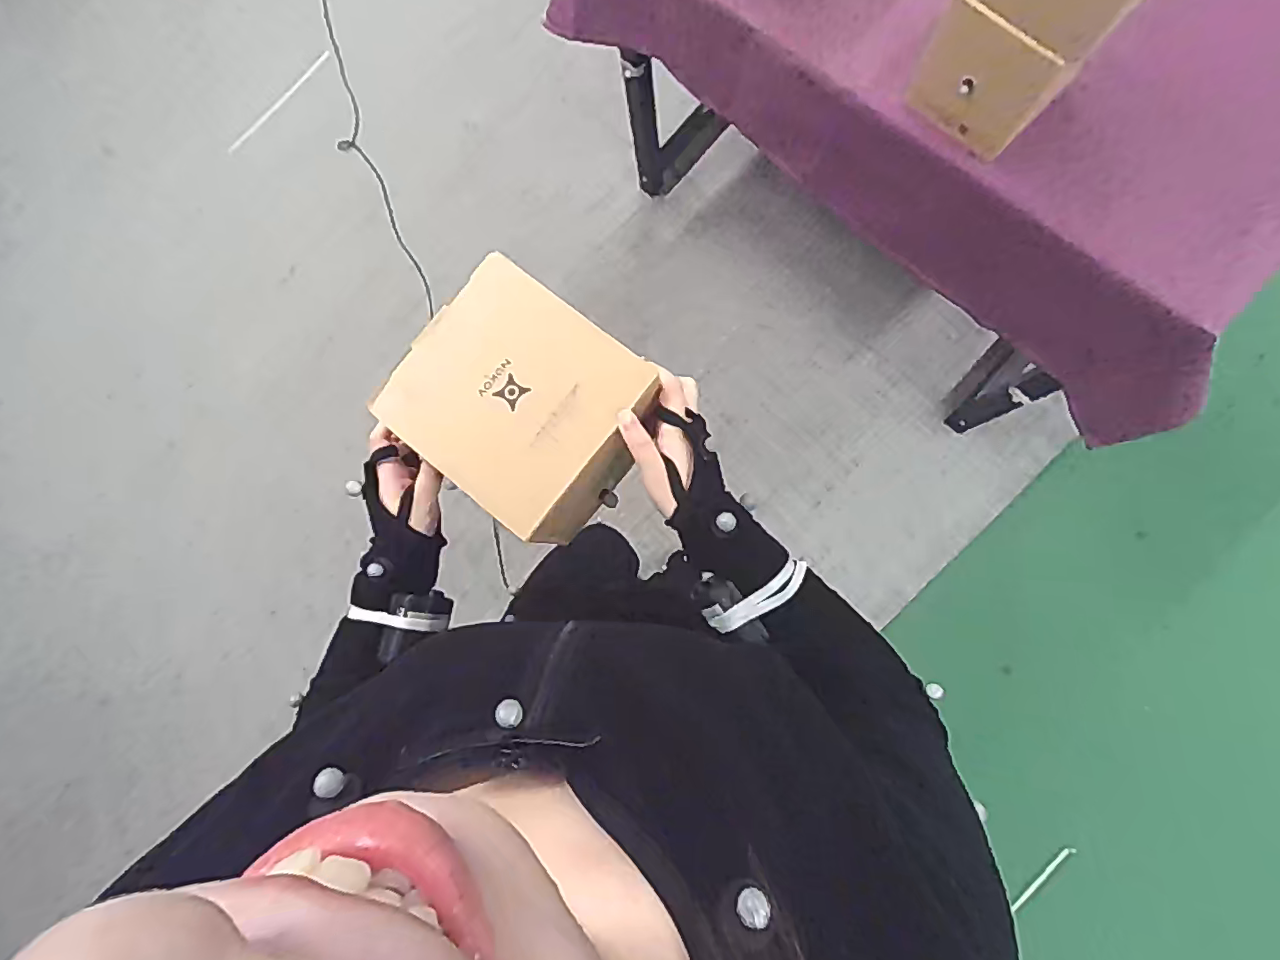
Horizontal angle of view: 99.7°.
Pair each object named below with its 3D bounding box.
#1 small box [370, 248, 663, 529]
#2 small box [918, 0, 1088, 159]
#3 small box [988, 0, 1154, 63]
[{"bbox_3d":[-0.095,-0.065,0.502,0.179,0.176,0.168,38,87,7],"label":"small box"},{"bbox_3d":[0.518,-0.595,0.743,0.179,0.176,0.168,-45,82,-1],"label":"small box"},{"bbox_3d":[0.512,-0.611,0.579,0.168,0.176,0.179,-44,82,-1],"label":"small box"}]
